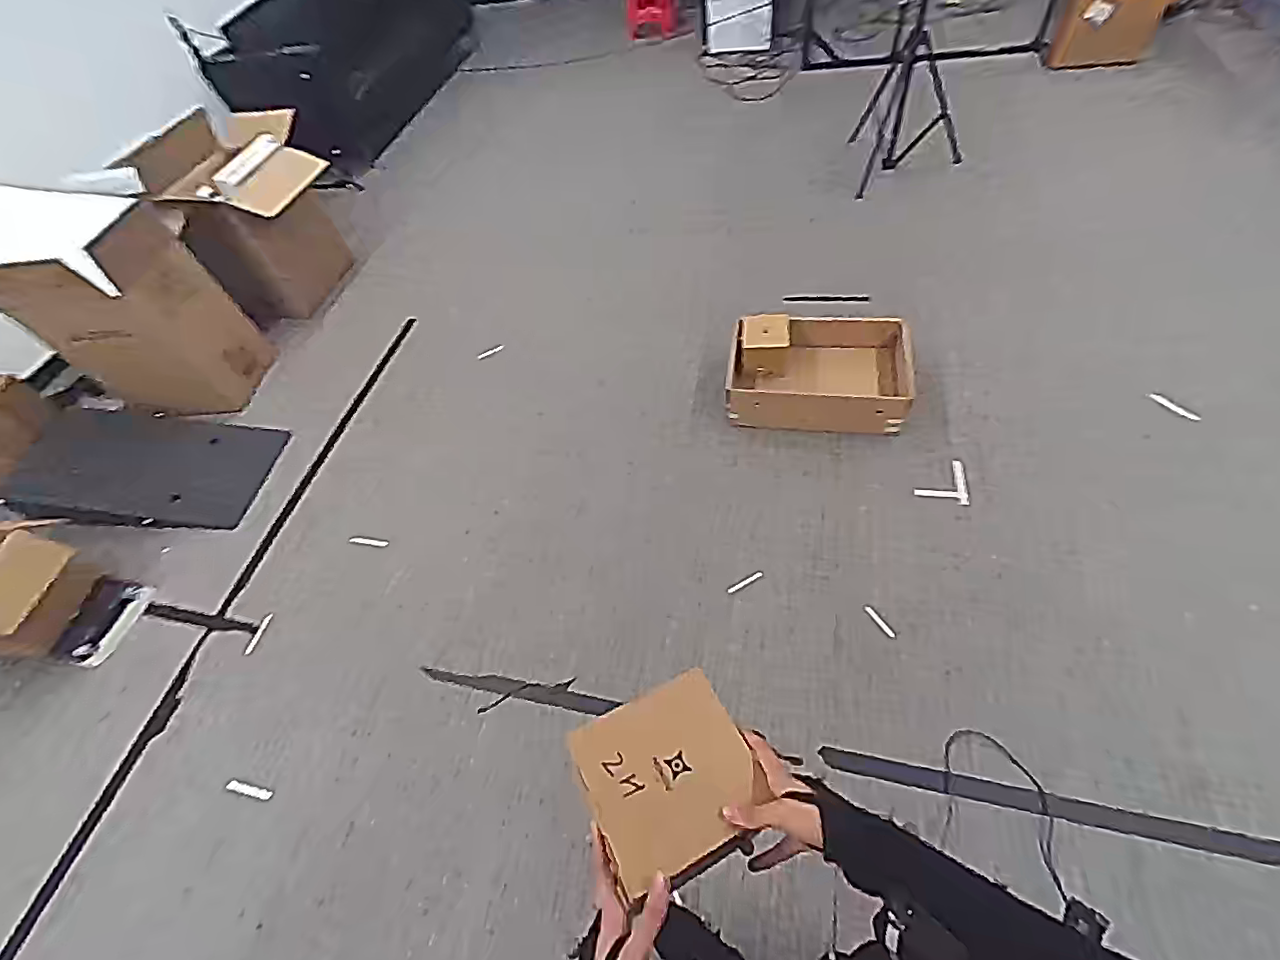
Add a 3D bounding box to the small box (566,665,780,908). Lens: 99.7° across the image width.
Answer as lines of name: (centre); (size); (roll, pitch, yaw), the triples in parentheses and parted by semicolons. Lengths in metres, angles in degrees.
small box: (0.029, 0.351, 0.623); (0.179, 0.176, 0.168); (-21, 51, -18)
